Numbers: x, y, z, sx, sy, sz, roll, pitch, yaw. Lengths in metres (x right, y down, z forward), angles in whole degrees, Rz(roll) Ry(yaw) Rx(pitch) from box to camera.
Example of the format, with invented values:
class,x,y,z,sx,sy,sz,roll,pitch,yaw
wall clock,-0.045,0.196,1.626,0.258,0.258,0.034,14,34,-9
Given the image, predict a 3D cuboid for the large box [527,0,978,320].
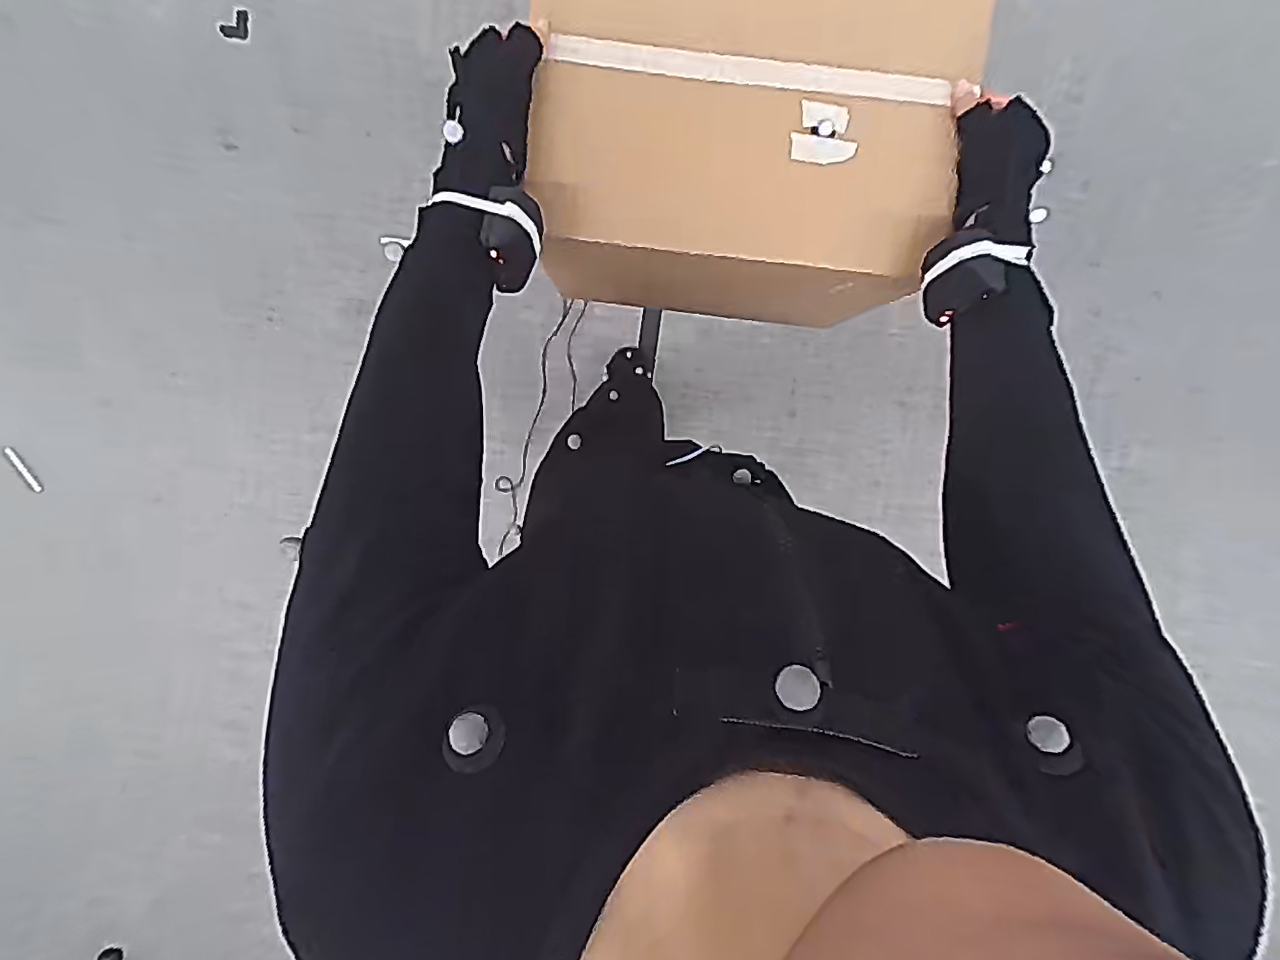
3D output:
class,x,y,z,sx,sy,sz,roll,pitch,yaw
large box,0.097,-0.388,0.643,0.408,0.320,0.320,6,98,-2
